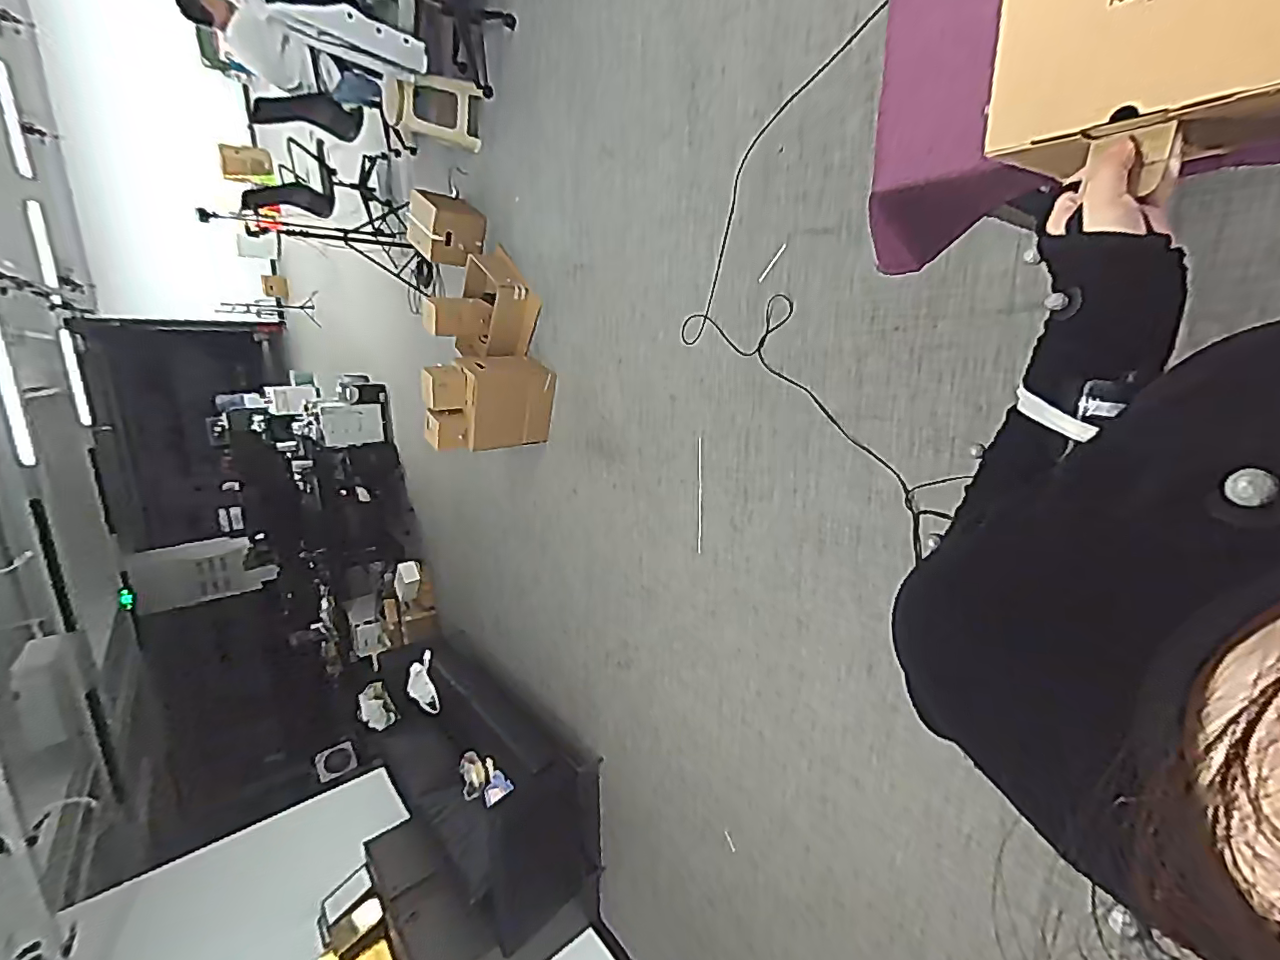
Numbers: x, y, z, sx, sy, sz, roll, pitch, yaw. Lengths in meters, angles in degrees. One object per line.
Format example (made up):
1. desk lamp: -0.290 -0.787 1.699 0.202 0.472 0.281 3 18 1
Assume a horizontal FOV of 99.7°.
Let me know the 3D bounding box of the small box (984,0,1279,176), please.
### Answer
1. small box: 0.382 -0.339 0.387 0.168 0.176 0.179 19 118 51
